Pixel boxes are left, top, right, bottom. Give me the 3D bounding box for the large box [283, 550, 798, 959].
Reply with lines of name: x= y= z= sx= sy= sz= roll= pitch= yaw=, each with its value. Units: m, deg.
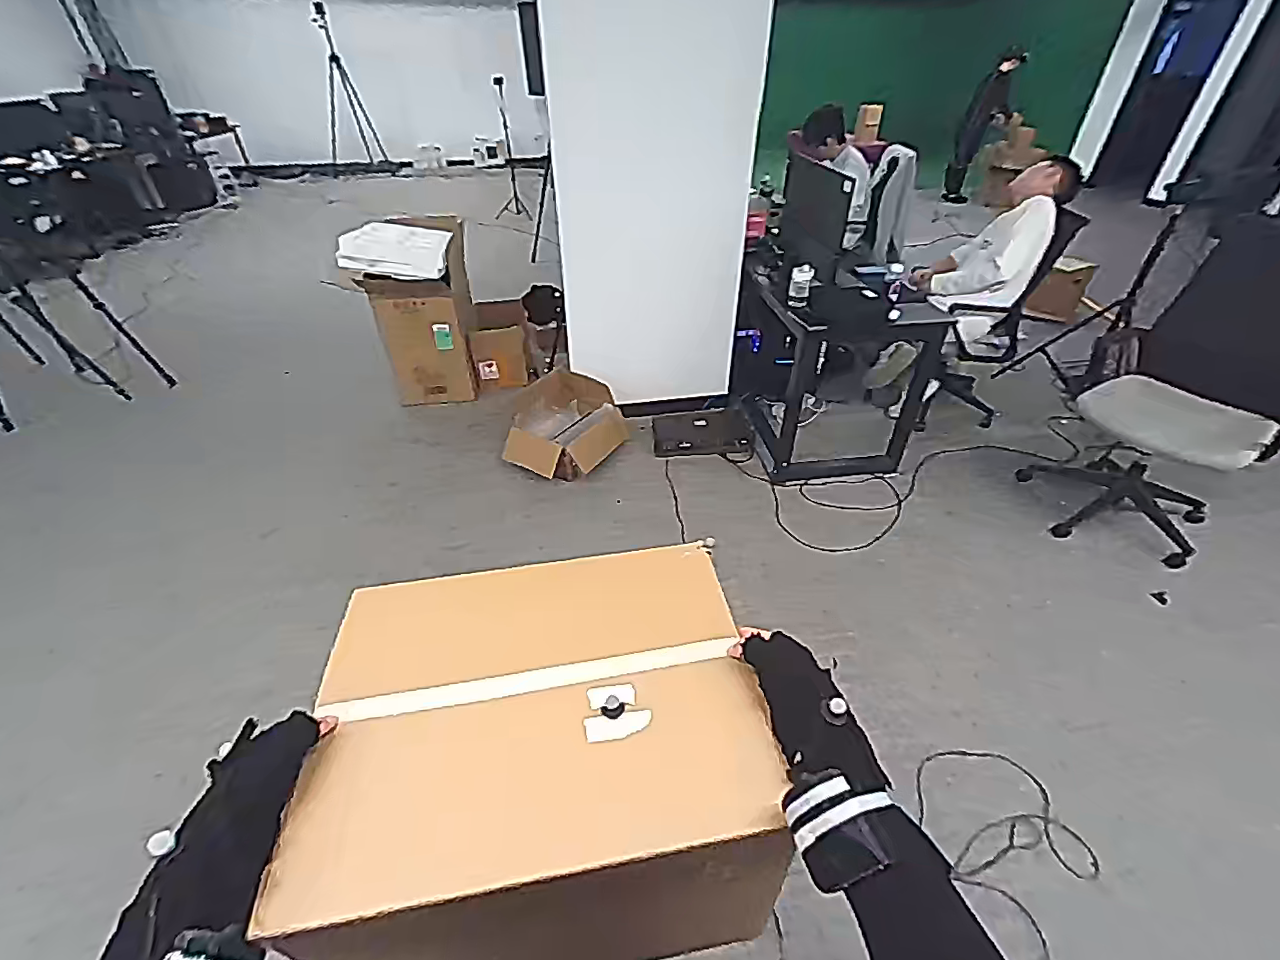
large box: x=-0.088 y=0.320 z=0.617 sx=0.408 sy=0.320 sz=0.320 roll=-7 pitch=38 yaw=-7
